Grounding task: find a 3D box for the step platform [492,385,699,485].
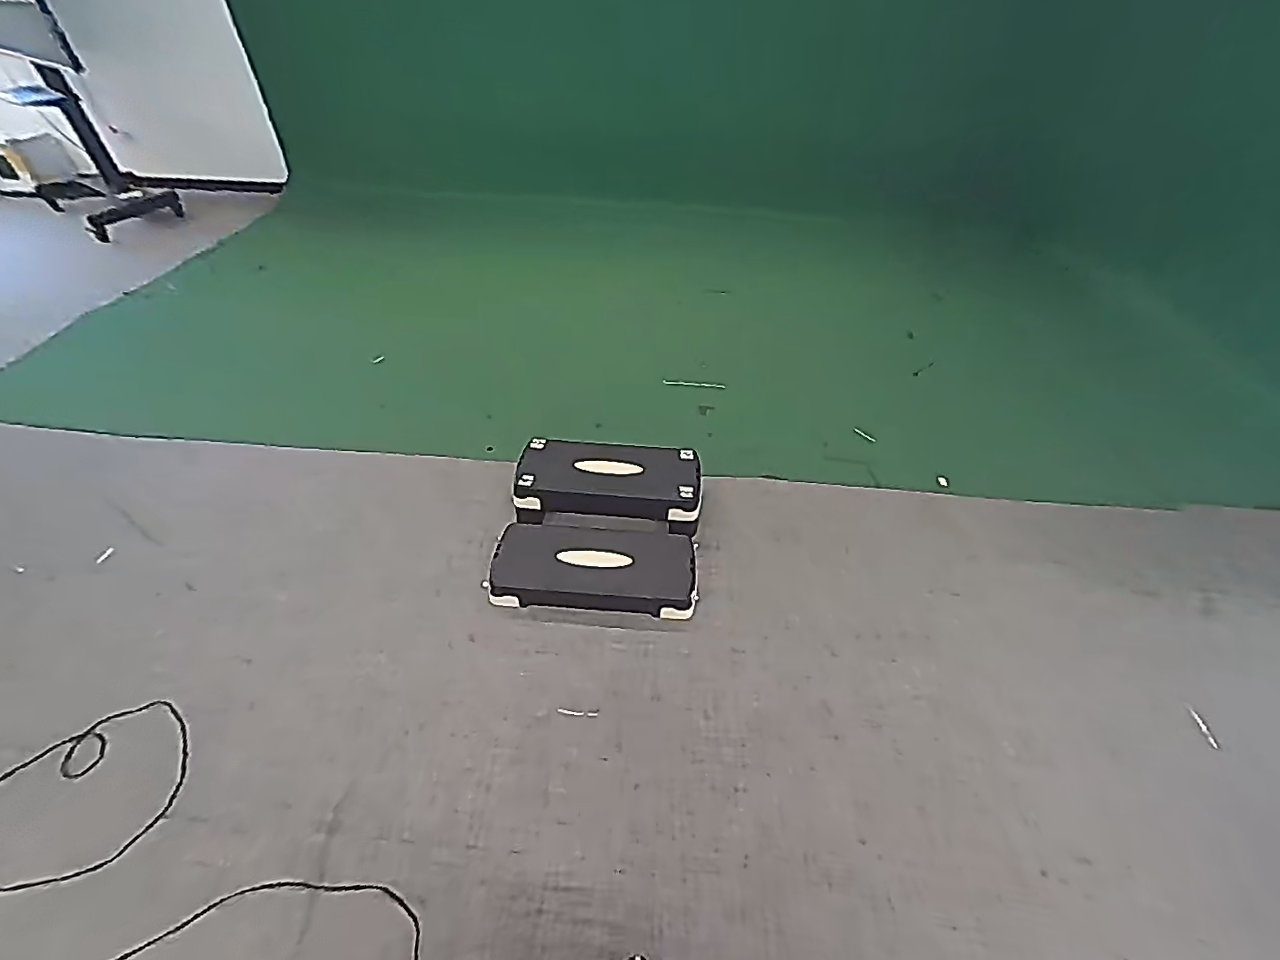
[{"bbox_3d":[-0.145,-0.157,1.877,0.684,0.204,0.286,3,45,3],"label":"step platform"}]
